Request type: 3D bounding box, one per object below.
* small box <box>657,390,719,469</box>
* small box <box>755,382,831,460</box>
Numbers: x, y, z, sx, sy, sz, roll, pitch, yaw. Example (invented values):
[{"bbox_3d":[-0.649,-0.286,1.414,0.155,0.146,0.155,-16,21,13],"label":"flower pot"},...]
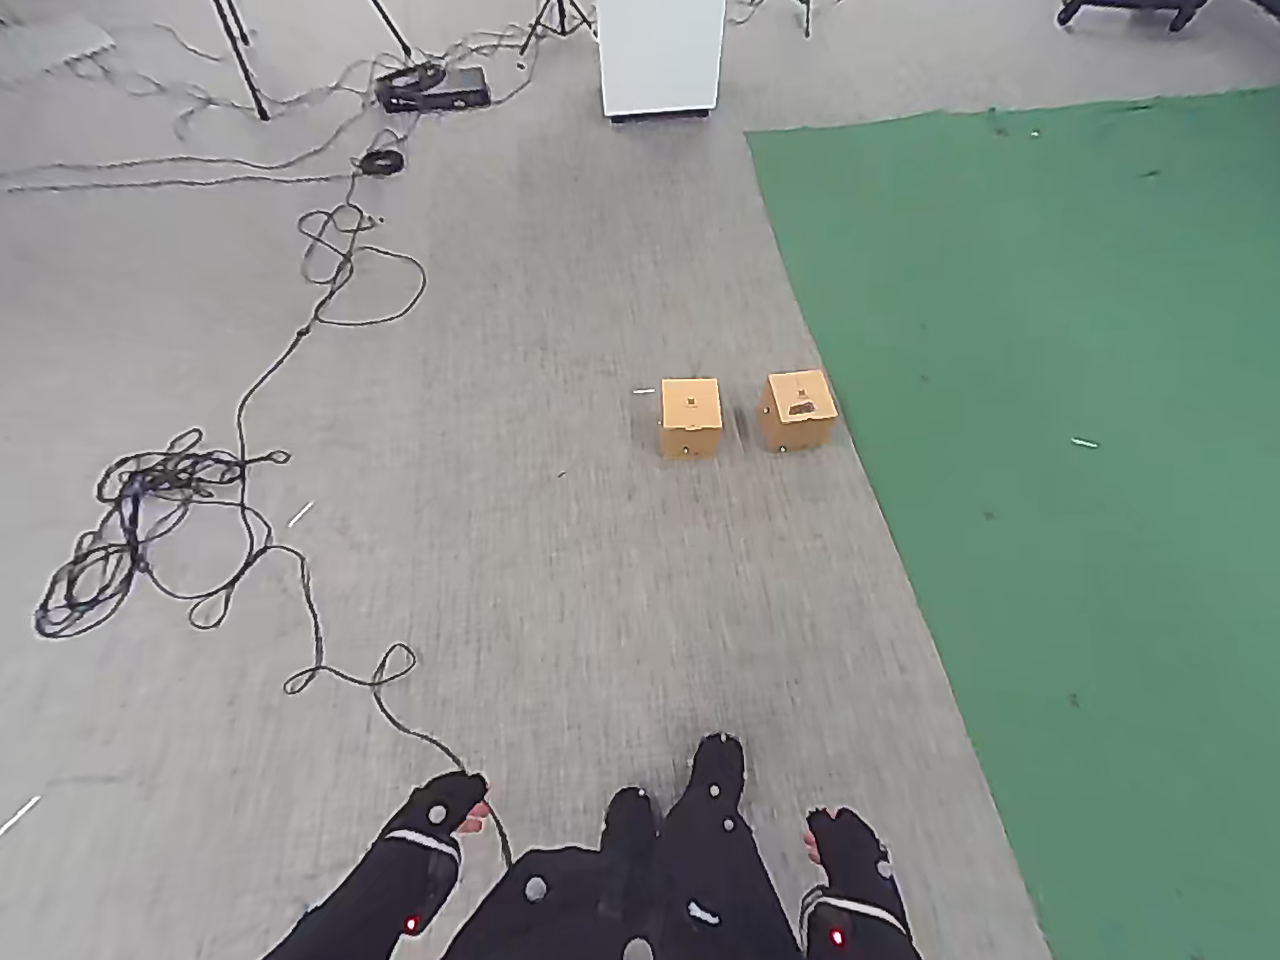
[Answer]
[{"bbox_3d":[0.138,-0.150,1.625,0.168,0.176,0.179,-1,61,-1],"label":"small box"},{"bbox_3d":[0.456,-0.170,1.636,0.168,0.176,0.179,-5,60,-3],"label":"small box"}]
